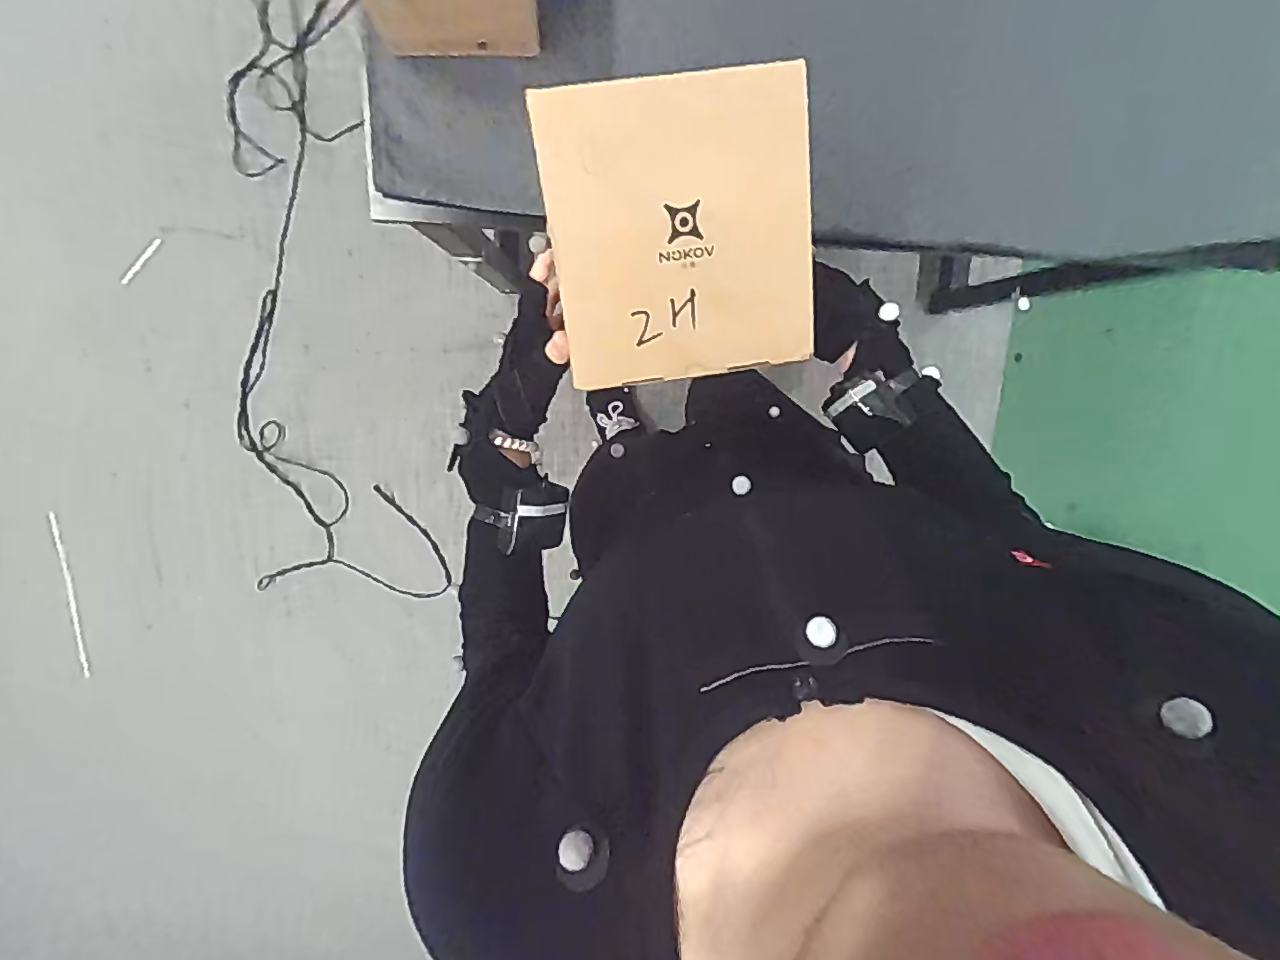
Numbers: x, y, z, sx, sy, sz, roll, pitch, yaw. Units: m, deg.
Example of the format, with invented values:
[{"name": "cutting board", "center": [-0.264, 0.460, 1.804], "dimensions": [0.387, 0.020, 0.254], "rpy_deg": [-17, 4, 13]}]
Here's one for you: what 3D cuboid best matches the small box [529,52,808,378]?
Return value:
[{"name": "small box", "center": [0.016, -0.181, 0.411], "dimensions": [0.168, 0.176, 0.179], "rpy_deg": [-8, 108, -3]}]
